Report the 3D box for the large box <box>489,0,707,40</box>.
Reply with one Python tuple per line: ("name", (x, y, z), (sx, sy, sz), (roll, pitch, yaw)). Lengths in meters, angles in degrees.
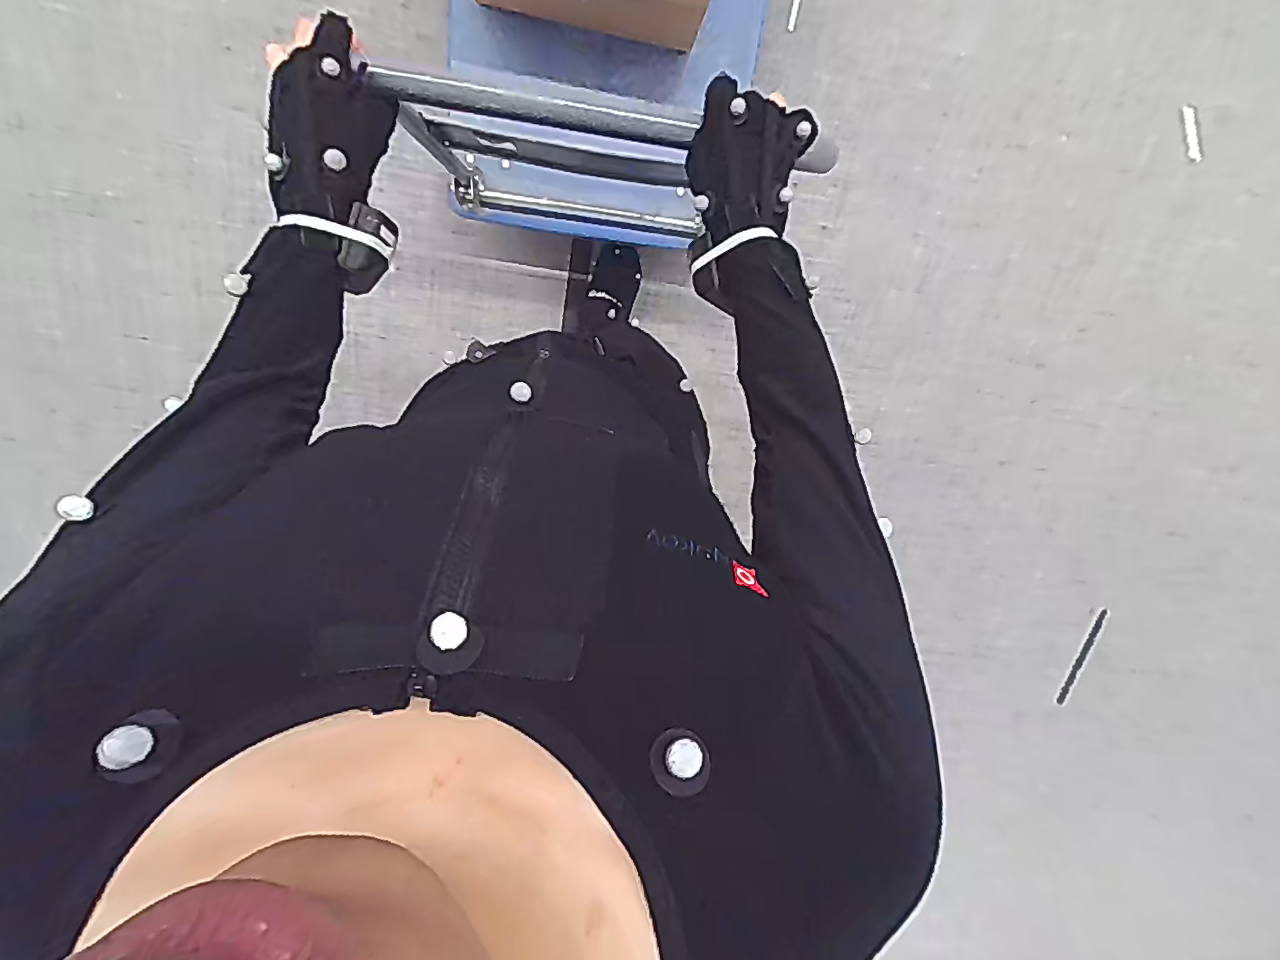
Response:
("large box", (-0.069, -0.940, 0.819), (0.408, 0.320, 0.320), (8, 110, -6))
